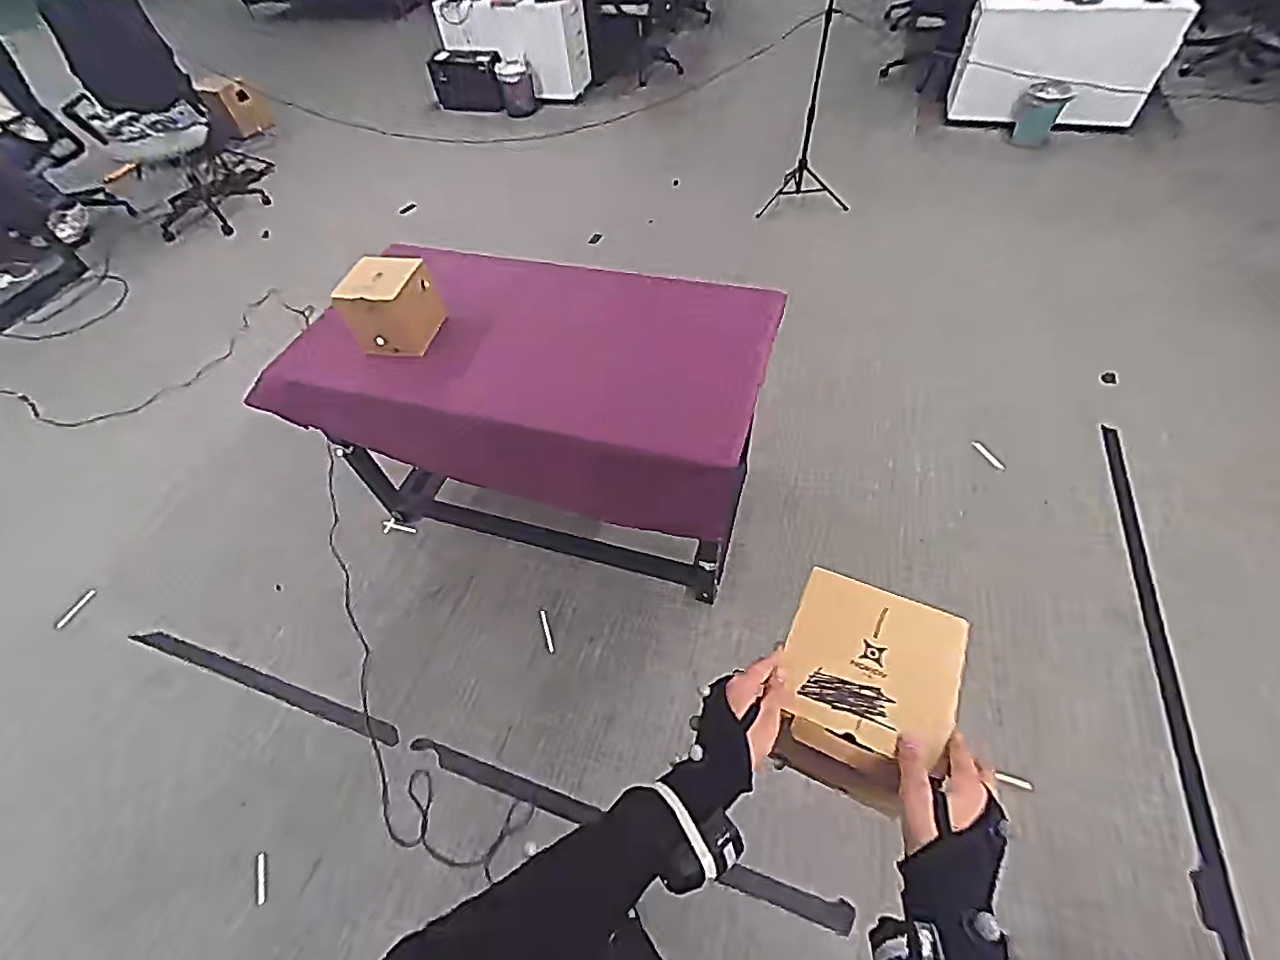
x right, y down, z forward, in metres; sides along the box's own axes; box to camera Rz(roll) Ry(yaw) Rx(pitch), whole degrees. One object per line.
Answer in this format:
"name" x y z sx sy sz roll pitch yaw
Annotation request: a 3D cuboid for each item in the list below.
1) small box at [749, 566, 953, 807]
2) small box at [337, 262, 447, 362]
"small box" 0.230 0.235 0.615 0.168 0.176 0.179 18 53 21
"small box" -0.611 -0.423 1.364 0.168 0.176 0.179 6 54 9
